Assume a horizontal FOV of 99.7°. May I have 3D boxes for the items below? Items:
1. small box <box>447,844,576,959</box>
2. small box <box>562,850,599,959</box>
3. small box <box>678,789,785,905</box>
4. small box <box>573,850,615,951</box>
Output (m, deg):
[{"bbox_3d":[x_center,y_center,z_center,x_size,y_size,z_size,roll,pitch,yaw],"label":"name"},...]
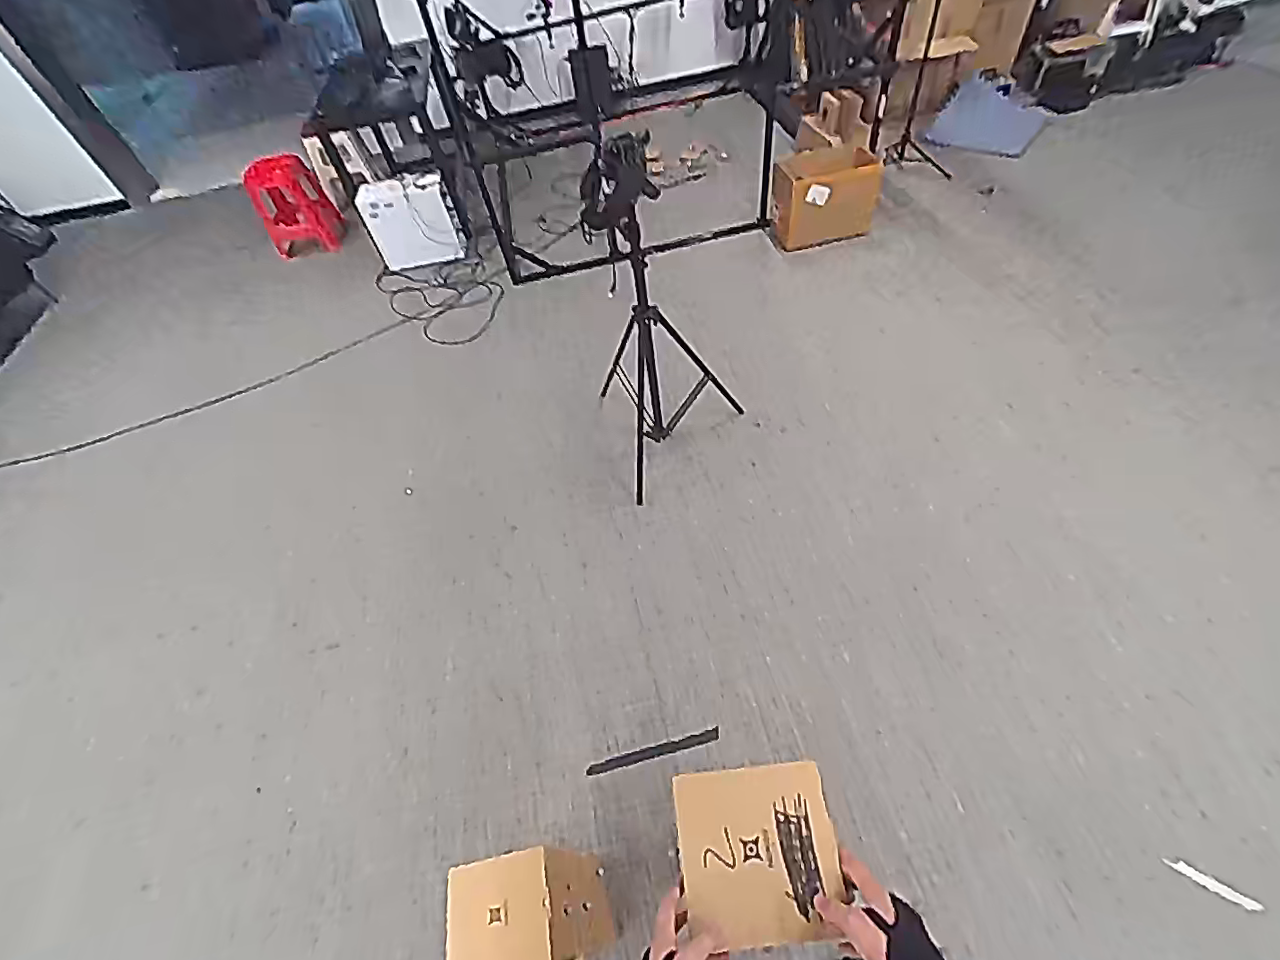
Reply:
[{"bbox_3d":[-0.224,0.769,0.961,0.179,0.176,0.168,-13,52,-1],"label":"small box"},{"bbox_3d":[-0.190,0.873,1.082,0.168,0.176,0.179,-18,53,-4],"label":"small box"},{"bbox_3d":[0.181,0.756,1.114,0.179,0.176,0.168,-11,51,-2],"label":"small box"},{"bbox_3d":[-0.164,0.967,1.214,0.168,0.176,0.179,-19,52,-6],"label":"small box"}]
